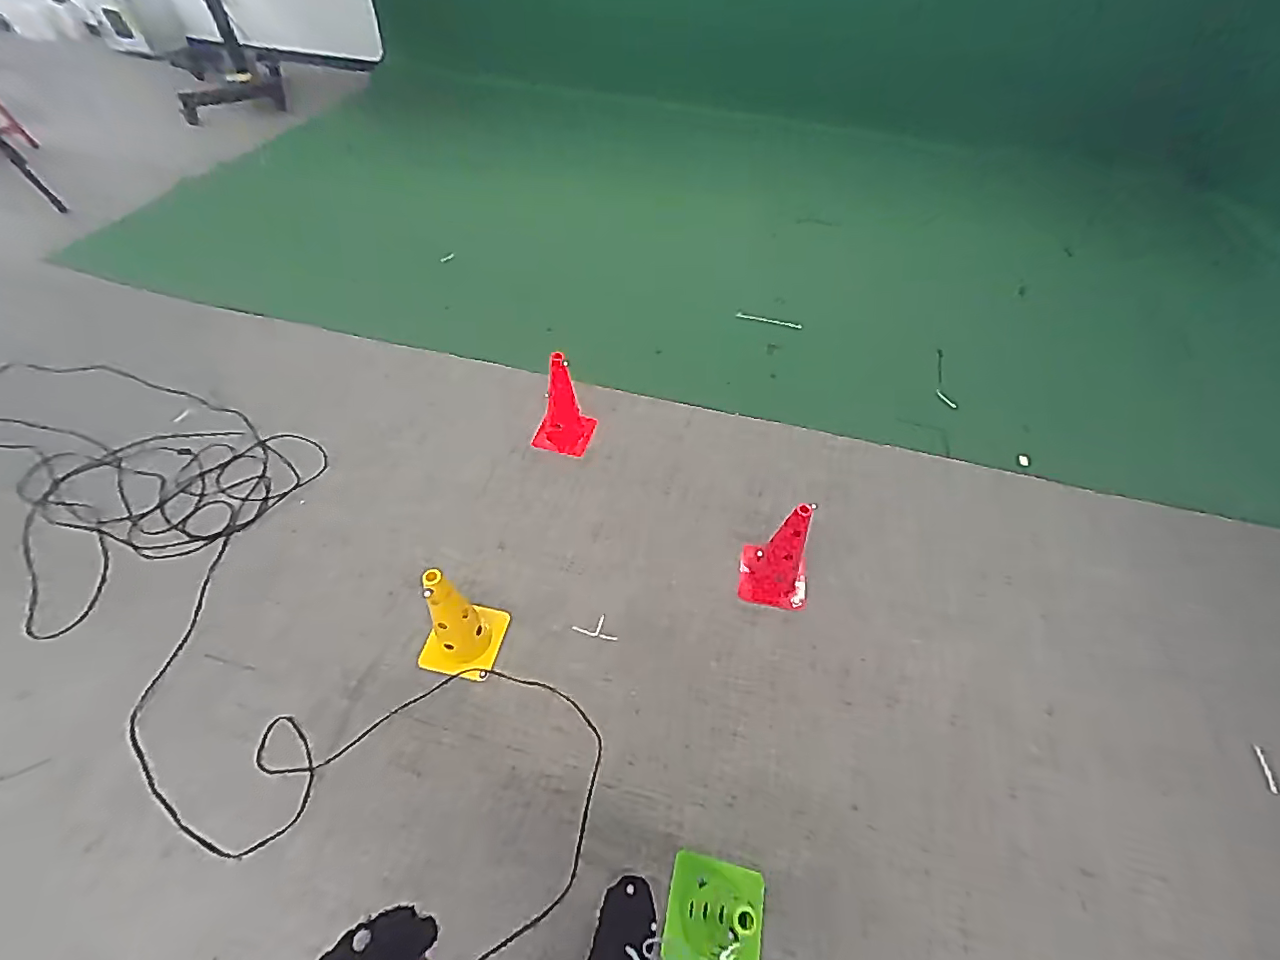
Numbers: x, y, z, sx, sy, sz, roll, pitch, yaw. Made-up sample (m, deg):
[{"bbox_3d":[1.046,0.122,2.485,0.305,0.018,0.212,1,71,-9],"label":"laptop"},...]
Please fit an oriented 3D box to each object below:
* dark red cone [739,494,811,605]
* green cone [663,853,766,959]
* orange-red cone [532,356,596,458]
[{"bbox_3d":[0.407,0.175,1.503,0.202,0.394,0.201,8,50,4],"label":"dark red cone"},{"bbox_3d":[0.163,0.815,1.005,0.202,0.368,0.200,11,51,8],"label":"green cone"},{"bbox_3d":[-0.276,-0.273,1.863,0.198,0.360,0.199,12,52,8],"label":"orange-red cone"}]
